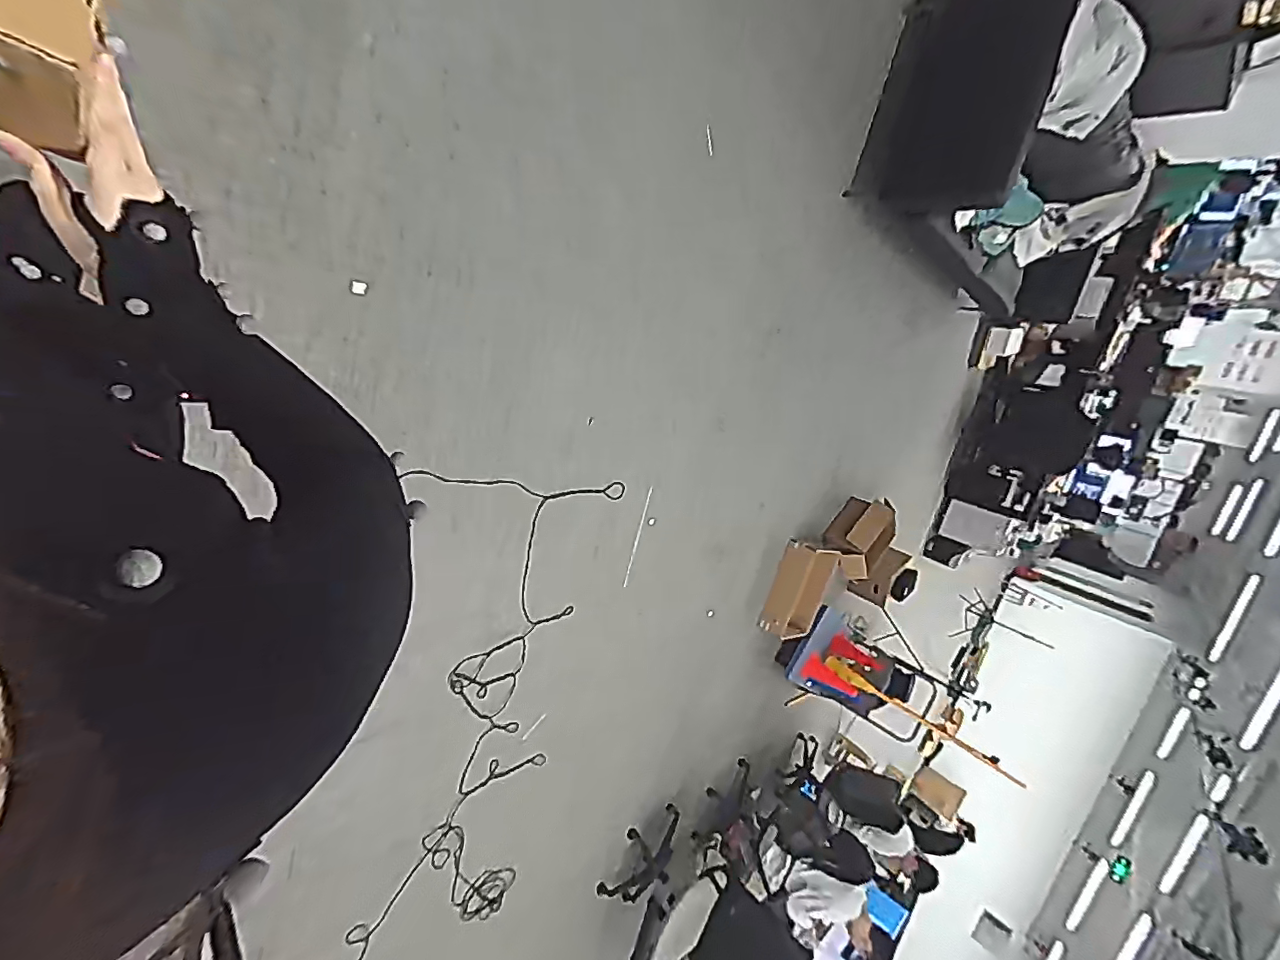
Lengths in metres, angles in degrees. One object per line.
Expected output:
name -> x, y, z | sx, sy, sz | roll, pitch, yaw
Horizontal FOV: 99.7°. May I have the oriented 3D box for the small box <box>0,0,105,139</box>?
small box -> -0.385, -0.307, 0.262 | 0.179, 0.176, 0.168 | 8, 91, -47
